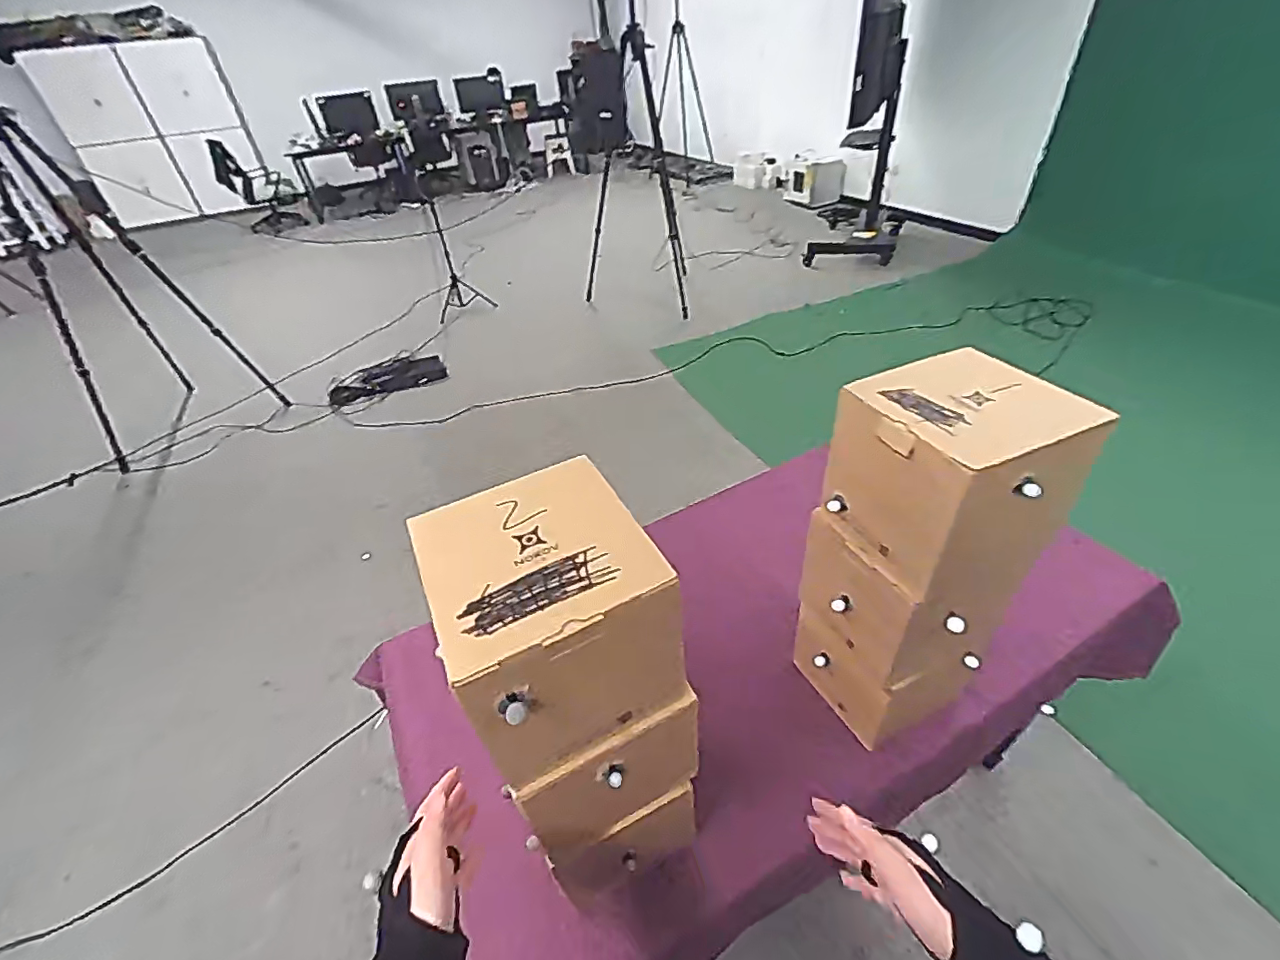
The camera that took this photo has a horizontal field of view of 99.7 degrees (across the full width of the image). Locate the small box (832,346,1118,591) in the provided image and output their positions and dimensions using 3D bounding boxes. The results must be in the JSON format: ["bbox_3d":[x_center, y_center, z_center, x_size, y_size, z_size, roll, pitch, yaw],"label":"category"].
[{"bbox_3d":[0.320,-0.014,0.562,0.179,0.176,0.168,-18,41,-15],"label":"small box"}]

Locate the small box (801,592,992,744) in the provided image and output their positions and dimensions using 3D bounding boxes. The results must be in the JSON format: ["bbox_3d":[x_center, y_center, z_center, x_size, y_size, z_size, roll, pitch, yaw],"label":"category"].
[{"bbox_3d":[0.348,0.237,0.772,0.179,0.176,0.168,-22,42,-18],"label":"small box"}]

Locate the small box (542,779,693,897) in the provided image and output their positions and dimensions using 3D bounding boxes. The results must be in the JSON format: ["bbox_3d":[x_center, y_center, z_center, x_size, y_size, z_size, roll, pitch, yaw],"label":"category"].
[{"bbox_3d":[-0.043,0.372,0.665,0.168,0.176,0.179,-21,41,-17],"label":"small box"}]

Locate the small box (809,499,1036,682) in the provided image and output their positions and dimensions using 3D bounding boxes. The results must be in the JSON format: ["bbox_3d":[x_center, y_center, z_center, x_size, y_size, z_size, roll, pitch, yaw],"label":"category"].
[{"bbox_3d":[0.326,0.114,0.665,0.179,0.176,0.168,-19,42,-14],"label":"small box"}]

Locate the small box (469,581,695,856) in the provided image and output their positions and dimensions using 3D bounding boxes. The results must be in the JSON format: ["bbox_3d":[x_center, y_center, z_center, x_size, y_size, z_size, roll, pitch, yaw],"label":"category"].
[{"bbox_3d":[-0.054,0.245,0.563,0.179,0.176,0.168,-22,43,-18],"label":"small box"}]
